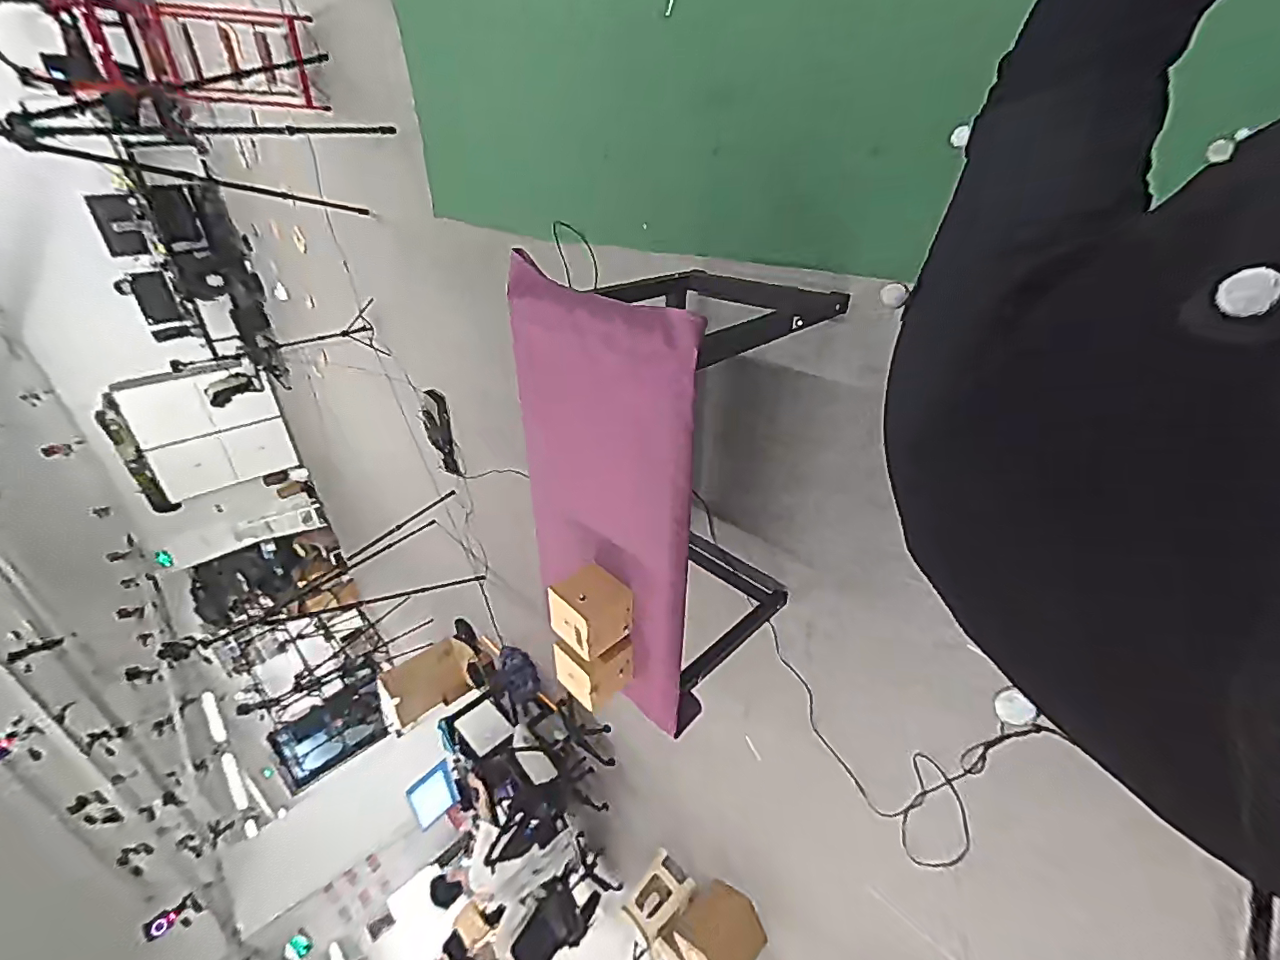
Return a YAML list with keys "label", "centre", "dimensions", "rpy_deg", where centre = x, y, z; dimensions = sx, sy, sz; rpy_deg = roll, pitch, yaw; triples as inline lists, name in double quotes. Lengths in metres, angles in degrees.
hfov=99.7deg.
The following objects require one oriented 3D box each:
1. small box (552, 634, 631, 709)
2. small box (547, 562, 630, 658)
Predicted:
- label: "small box"
  centre: [-0.148, 0.550, 1.656]
  dimensions: [0.179, 0.176, 0.168]
  rpy_deg: [29, 131, 37]
- label: "small box"
  centre: [-0.143, 0.362, 1.540]
  dimensions: [0.179, 0.176, 0.168]
  rpy_deg: [31, 132, 37]
